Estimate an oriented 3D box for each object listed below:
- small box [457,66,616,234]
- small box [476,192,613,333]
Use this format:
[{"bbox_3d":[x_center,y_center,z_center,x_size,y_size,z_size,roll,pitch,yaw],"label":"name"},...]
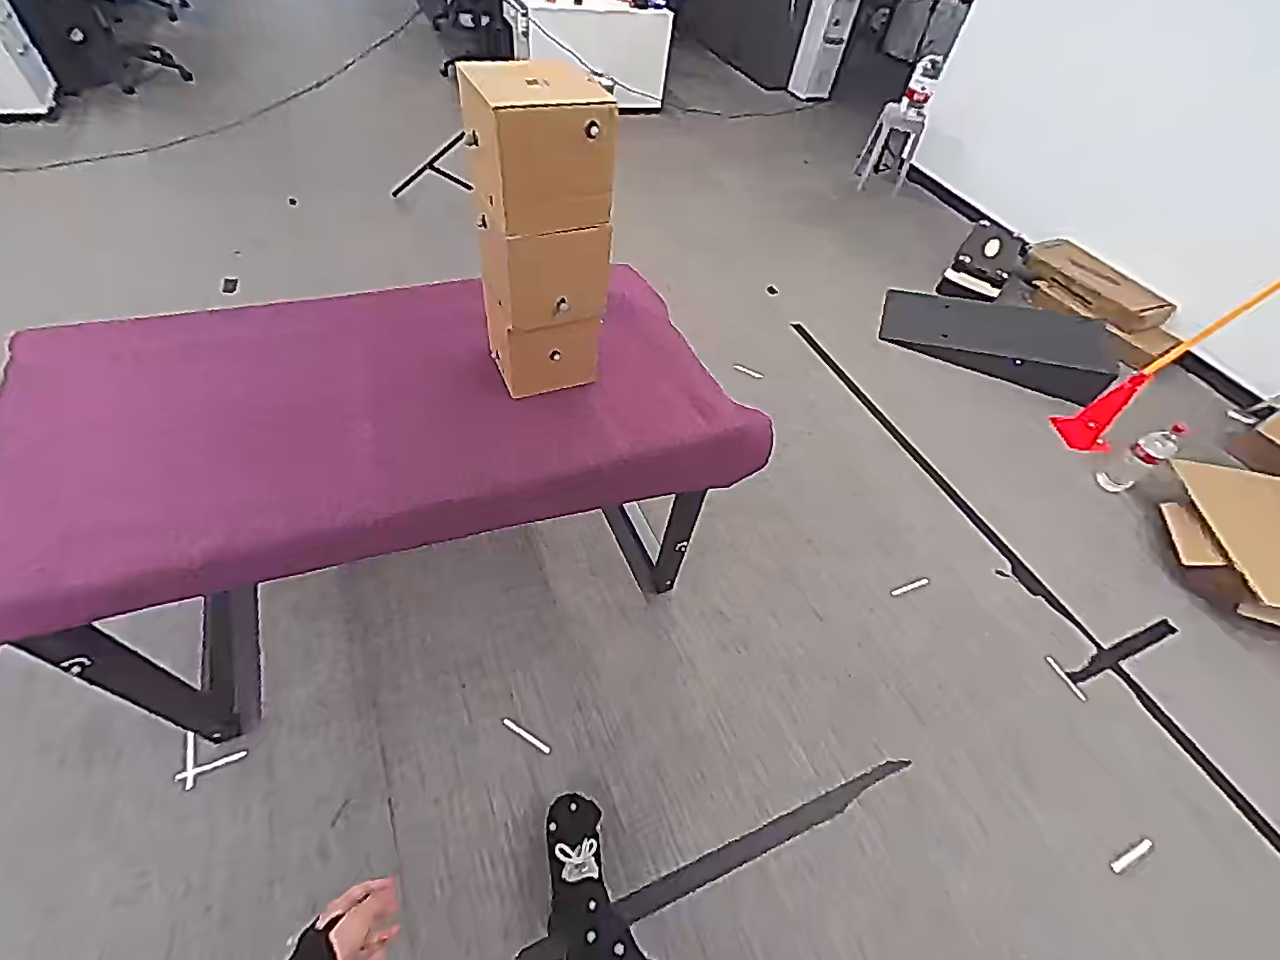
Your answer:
[{"bbox_3d":[-0.150,-0.483,0.799,0.179,0.176,0.168,-19,56,-22],"label":"small box"},{"bbox_3d":[-0.164,-0.376,0.921,0.179,0.176,0.168,-19,56,-22],"label":"small box"}]
